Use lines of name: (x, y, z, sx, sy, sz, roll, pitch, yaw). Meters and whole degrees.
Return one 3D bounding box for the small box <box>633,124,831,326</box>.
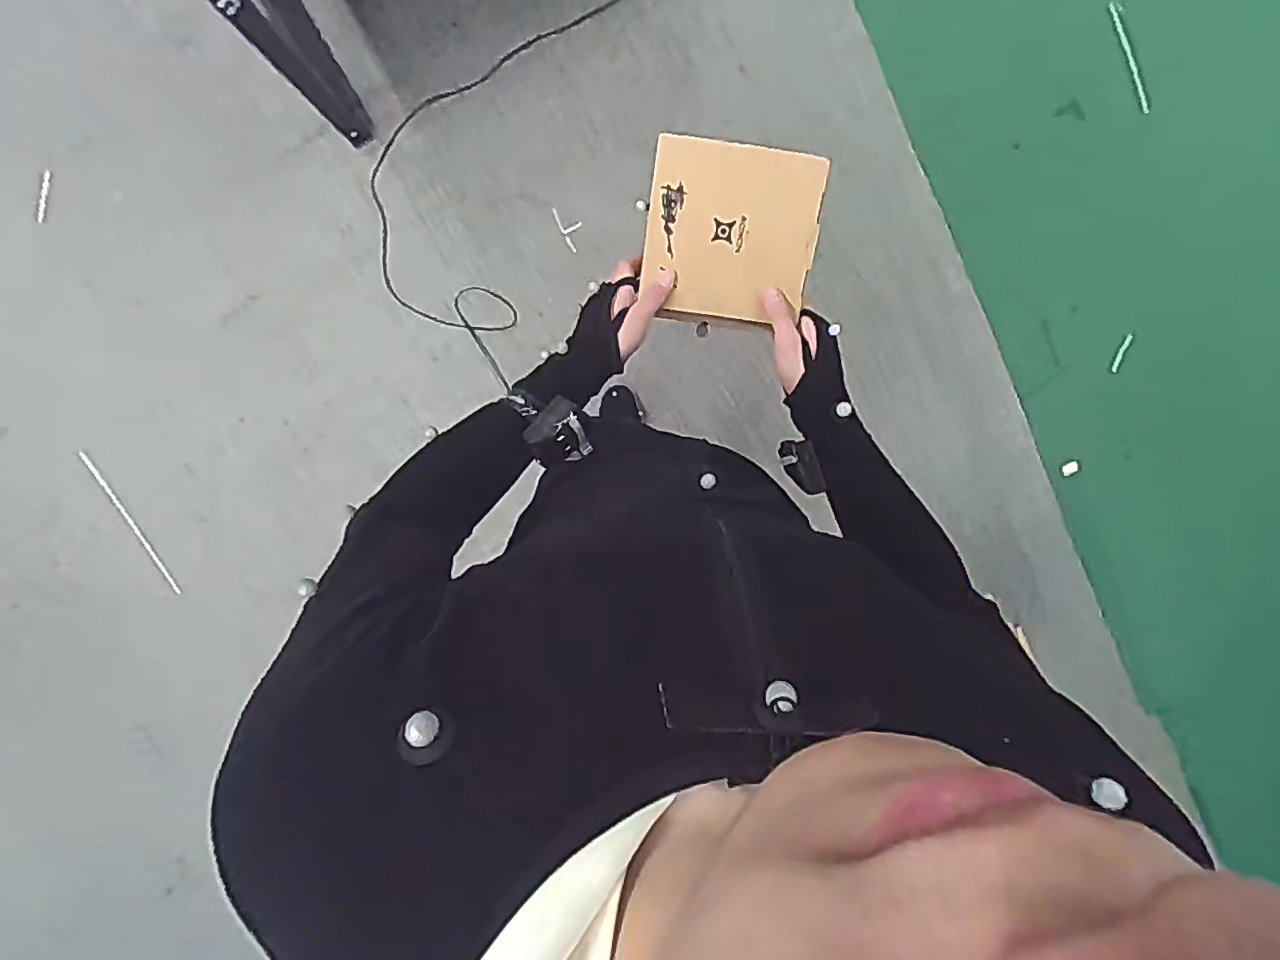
small box: (0.090, -0.273, 0.622, 0.179, 0.176, 0.168, 7, 103, -3)
